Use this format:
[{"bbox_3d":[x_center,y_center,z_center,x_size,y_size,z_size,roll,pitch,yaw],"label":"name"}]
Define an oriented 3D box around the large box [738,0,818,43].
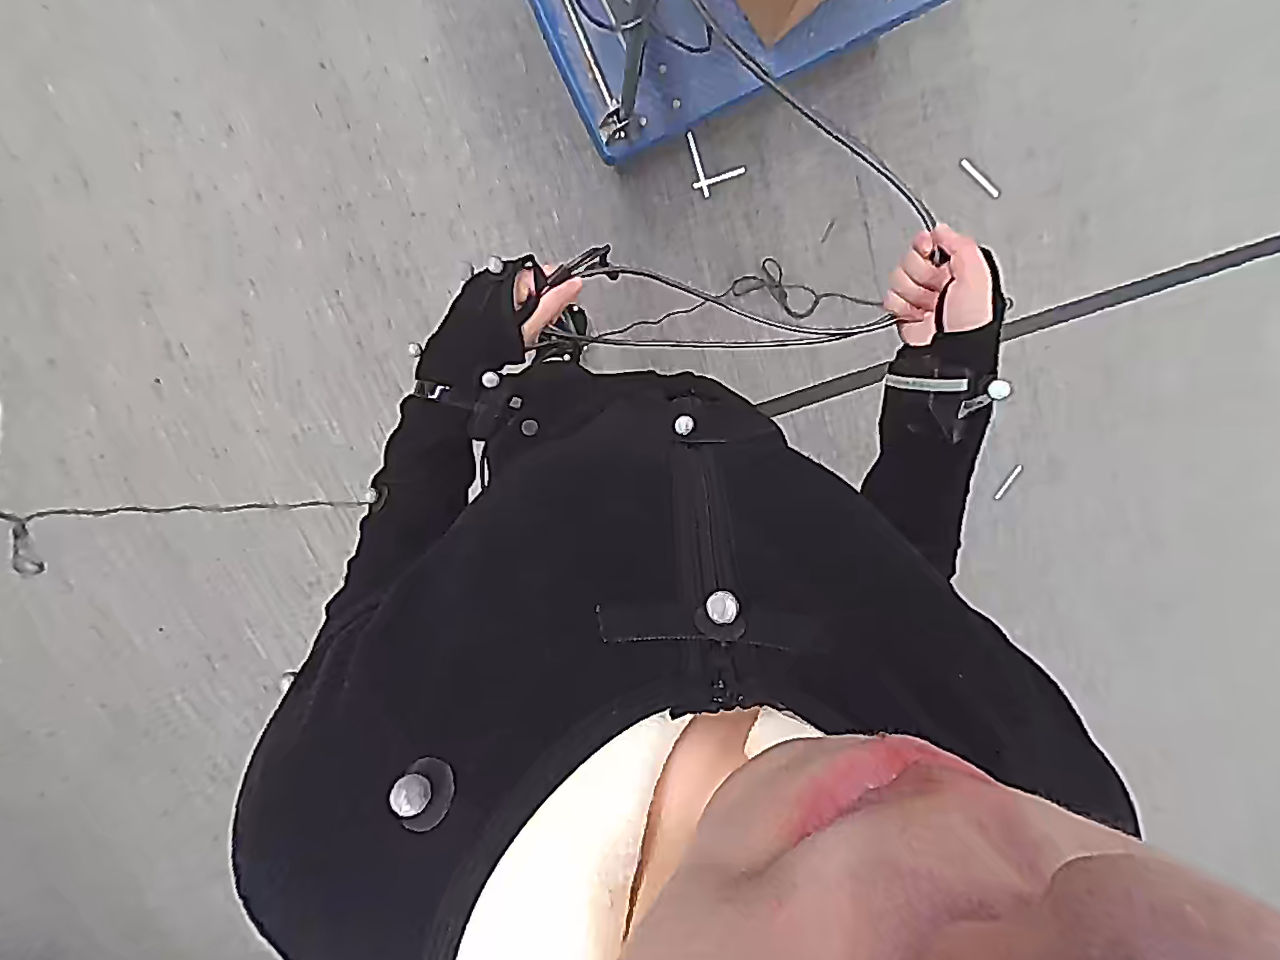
[{"bbox_3d":[0.270,-1.108,0.925,0.320,0.320,0.408,-40,106,5],"label":"large box"}]
